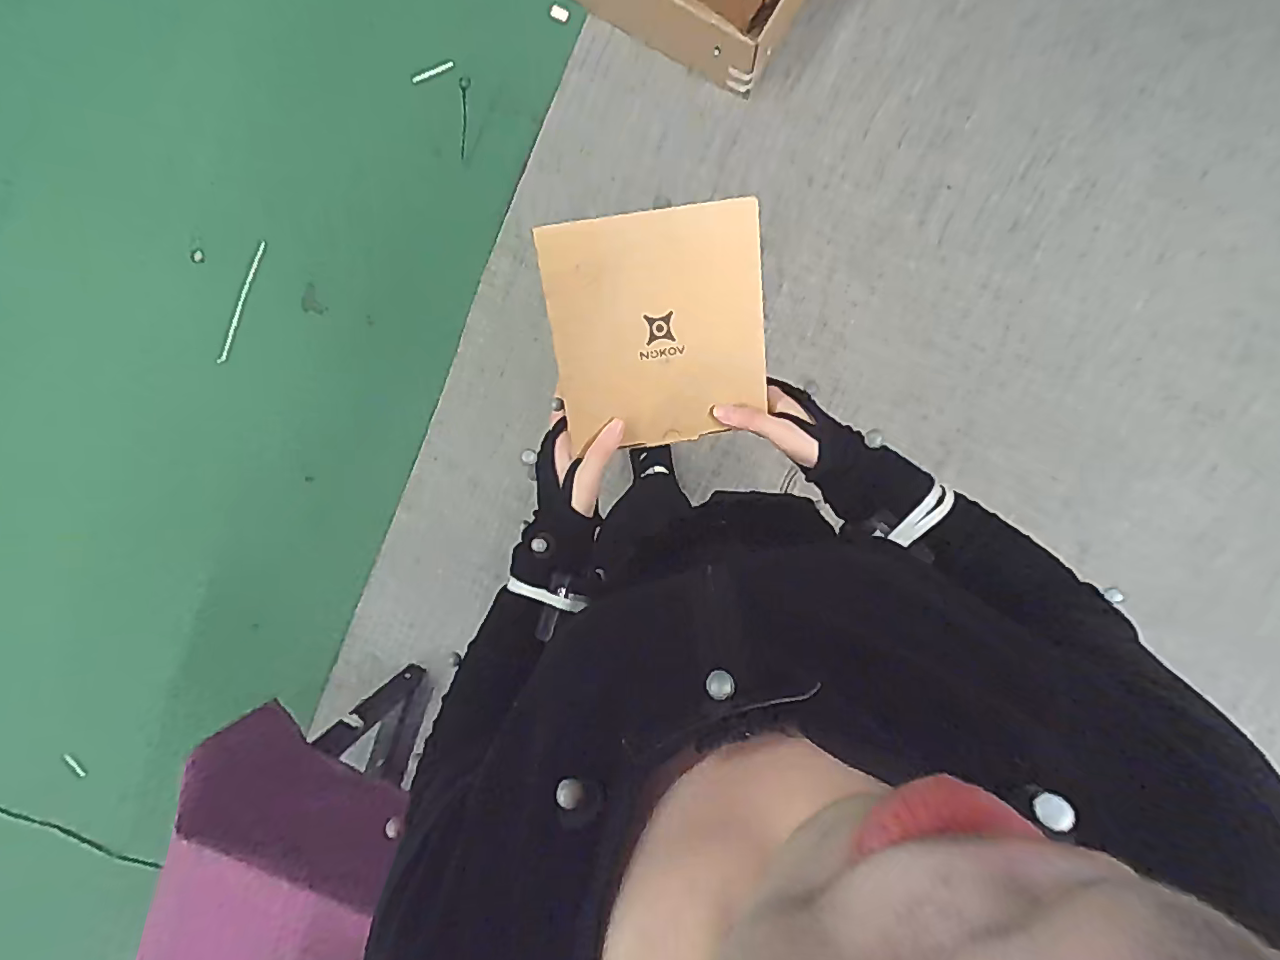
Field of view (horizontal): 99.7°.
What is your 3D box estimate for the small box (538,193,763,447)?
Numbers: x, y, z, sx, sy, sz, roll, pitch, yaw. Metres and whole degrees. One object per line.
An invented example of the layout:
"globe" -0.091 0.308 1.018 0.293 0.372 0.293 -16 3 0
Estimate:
"small box" 0.005 -0.146 0.493 0.168 0.176 0.179 -9 113 -3
